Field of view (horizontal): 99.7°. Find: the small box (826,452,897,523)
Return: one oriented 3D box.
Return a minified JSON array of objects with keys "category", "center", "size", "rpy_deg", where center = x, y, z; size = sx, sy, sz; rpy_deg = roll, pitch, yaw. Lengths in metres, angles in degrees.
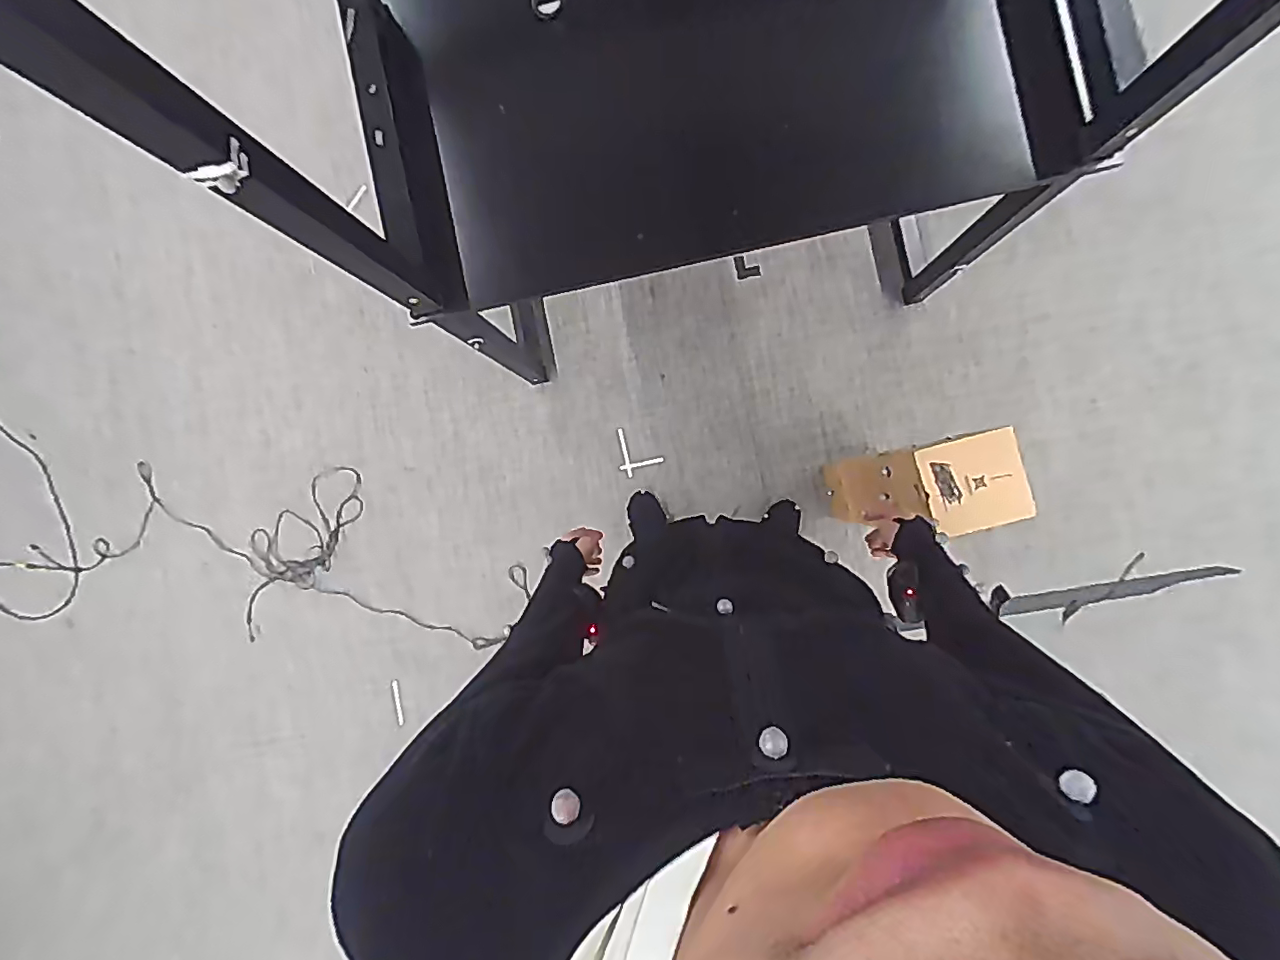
[{"category":"small box","center":[0.642,0.017,1.511],"size":[0.179,0.176,0.168],"rpy_deg":[-13,88,6]}]

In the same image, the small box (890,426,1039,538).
[{"category":"small box","center":[0.595,0.006,1.022],"size":[0.179,0.176,0.168],"rpy_deg":[-15,89,5]}]

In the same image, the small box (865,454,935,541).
[{"category":"small box","center":[0.617,0.022,1.185],"size":[0.168,0.176,0.179],"rpy_deg":[-15,89,5]}]
